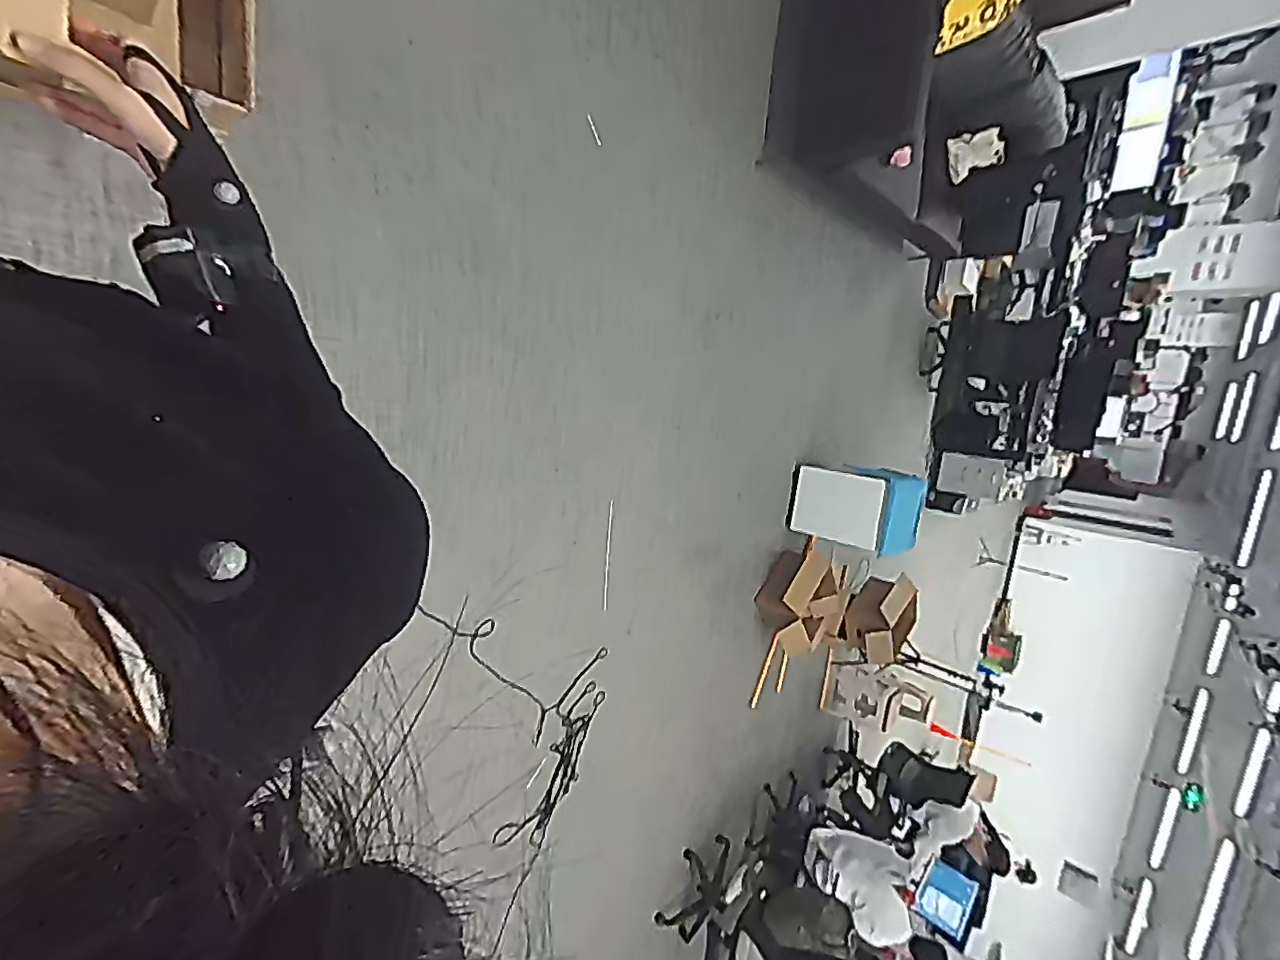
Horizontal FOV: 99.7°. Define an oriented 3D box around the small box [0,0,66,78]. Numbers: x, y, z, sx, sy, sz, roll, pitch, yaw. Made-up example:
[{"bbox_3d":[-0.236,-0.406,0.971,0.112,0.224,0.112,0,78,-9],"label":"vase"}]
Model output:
[{"bbox_3d":[-0.475,-0.385,0.326,0.168,0.176,0.179,-4,112,-49],"label":"small box"}]
